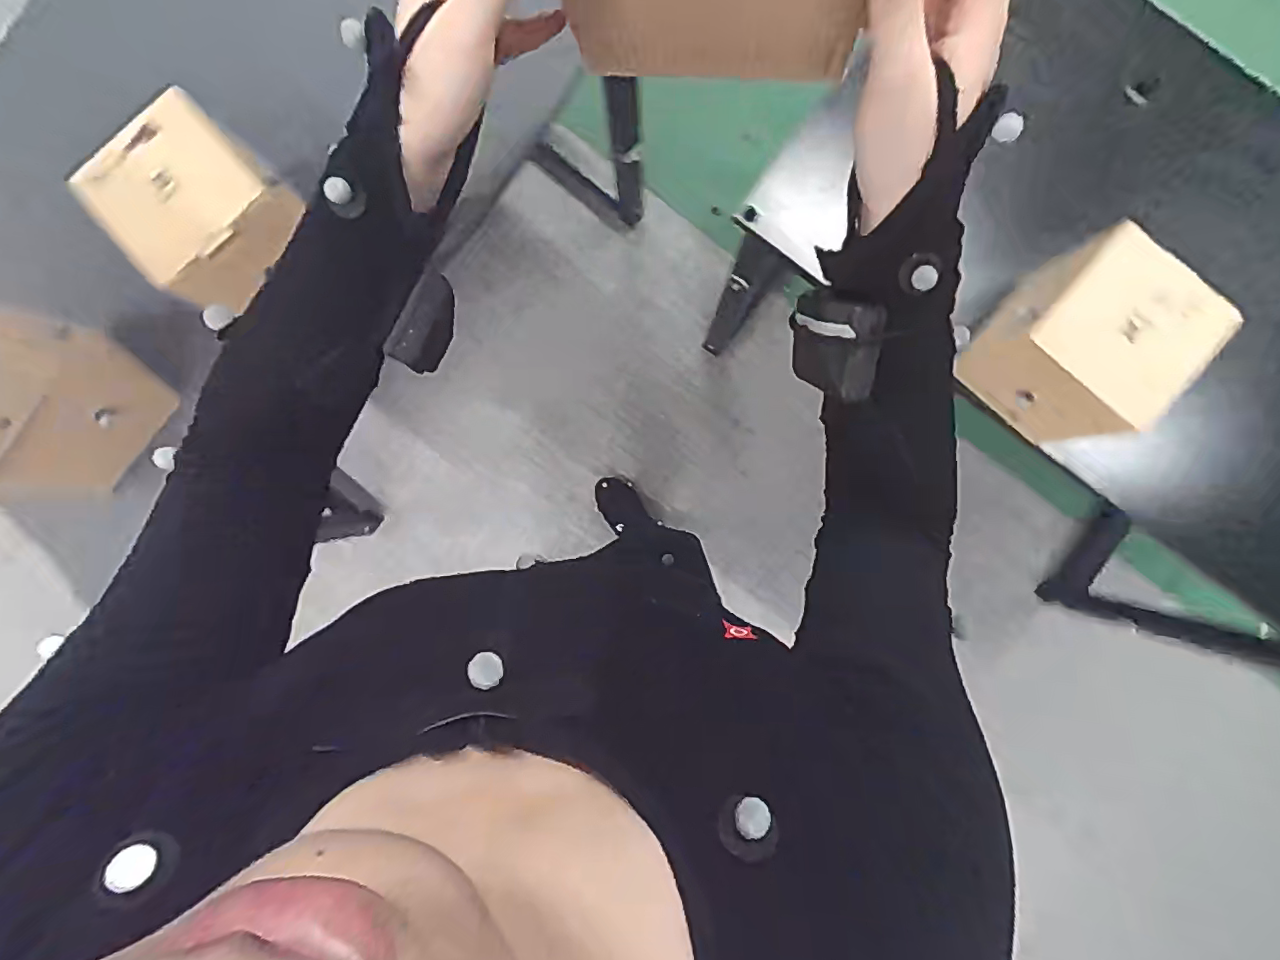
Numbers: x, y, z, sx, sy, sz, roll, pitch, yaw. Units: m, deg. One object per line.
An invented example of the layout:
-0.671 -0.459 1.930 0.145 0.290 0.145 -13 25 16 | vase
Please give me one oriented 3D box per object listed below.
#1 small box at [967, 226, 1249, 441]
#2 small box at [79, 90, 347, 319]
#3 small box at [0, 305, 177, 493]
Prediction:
0.553 -0.164 0.674 0.168 0.176 0.179 41 91 1 | small box
-0.528 -0.332 0.699 0.168 0.176 0.179 -41 88 1 | small box
-0.768 -0.100 0.703 0.168 0.176 0.179 39 91 3 | small box
